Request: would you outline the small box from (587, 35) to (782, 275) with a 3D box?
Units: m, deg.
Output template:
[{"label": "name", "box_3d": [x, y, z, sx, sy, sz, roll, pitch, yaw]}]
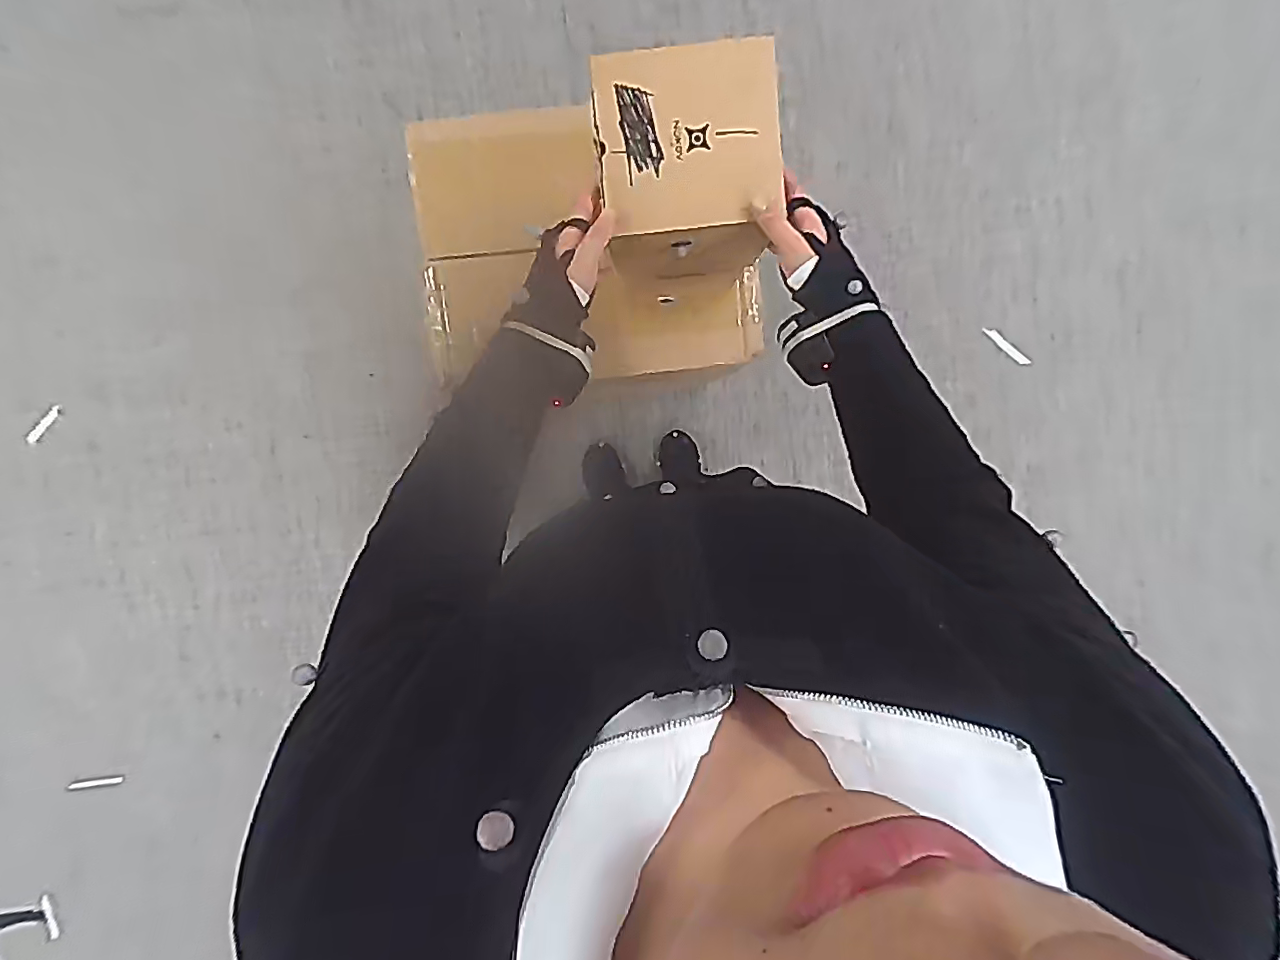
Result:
[{"label": "small box", "box_3d": [0.045, -0.335, 0.595, 0.179, 0.176, 0.168, -6, 97, 1]}]

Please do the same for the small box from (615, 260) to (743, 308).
[{"label": "small box", "box_3d": [0.043, -0.354, 0.758, 0.168, 0.176, 0.179, -6, 97, 2]}]
